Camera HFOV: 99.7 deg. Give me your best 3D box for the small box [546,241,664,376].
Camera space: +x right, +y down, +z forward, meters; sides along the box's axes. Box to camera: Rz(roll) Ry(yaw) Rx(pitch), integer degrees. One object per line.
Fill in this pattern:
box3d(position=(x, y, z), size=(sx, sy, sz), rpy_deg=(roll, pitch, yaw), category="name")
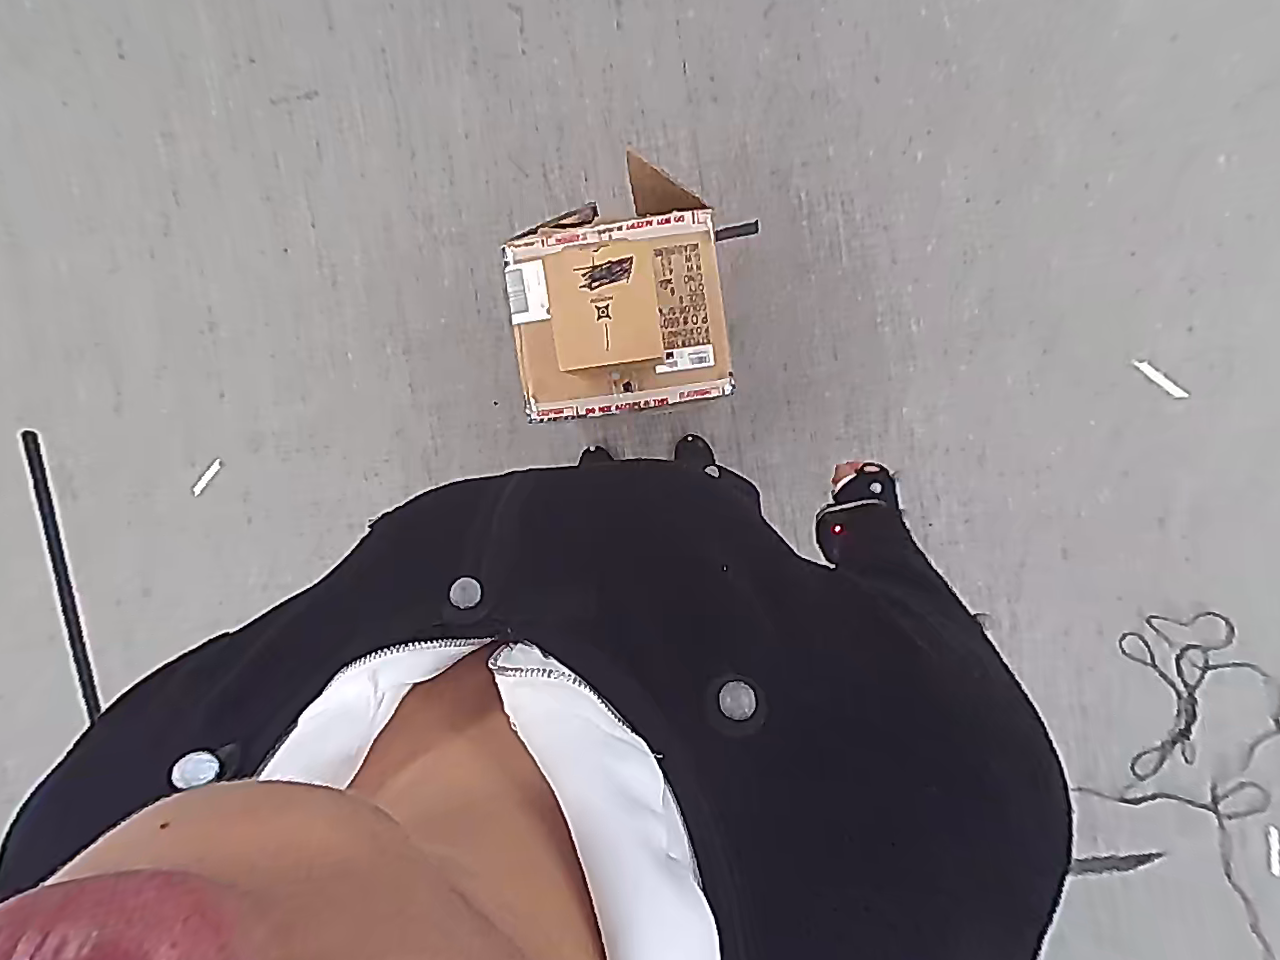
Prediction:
box3d(position=(-0.050, -0.274, 0.898), size=(0.168, 0.176, 0.179), rpy_deg=(-7, 98, 4), category="small box")
